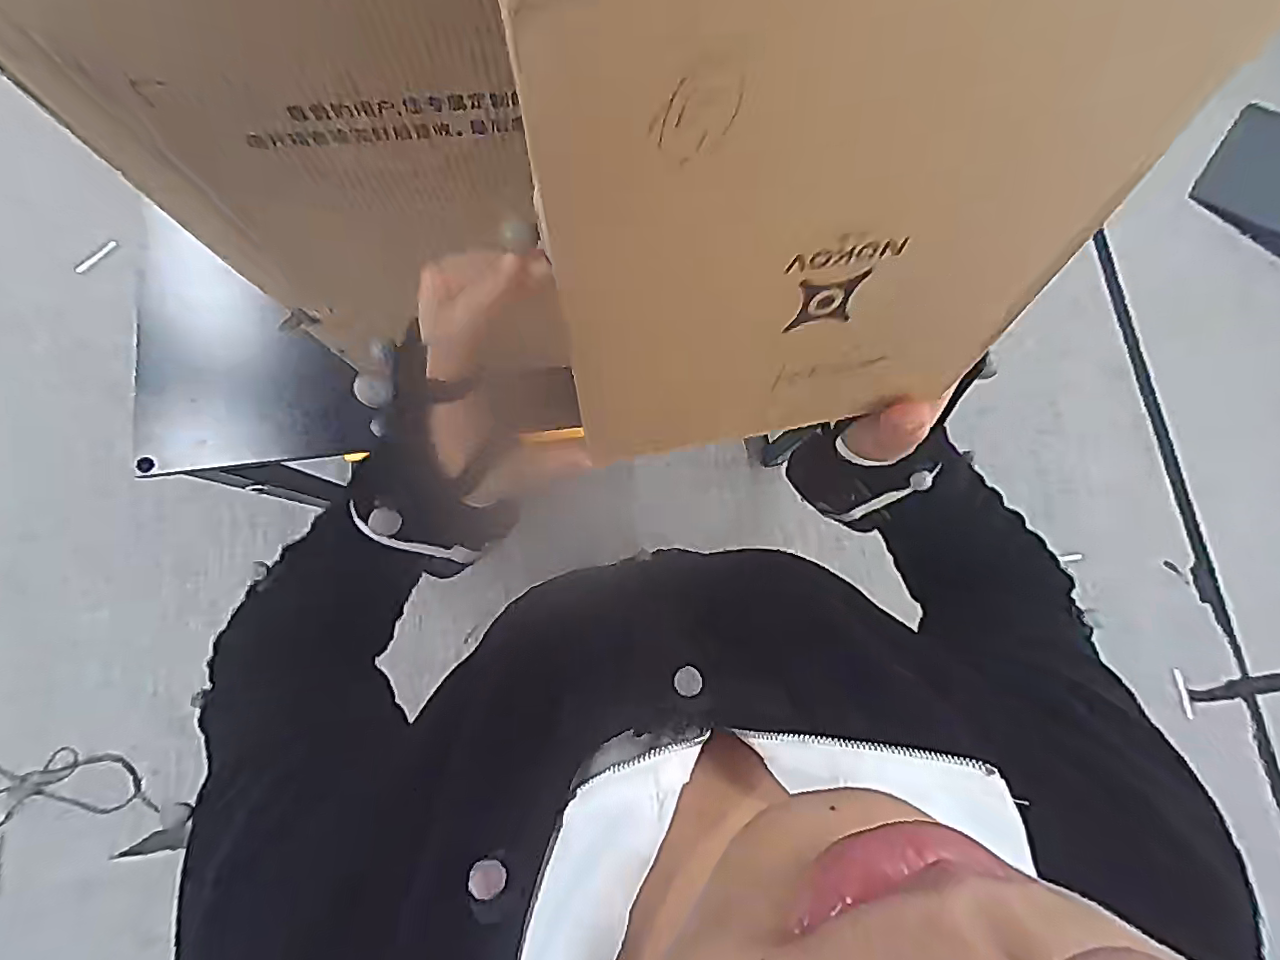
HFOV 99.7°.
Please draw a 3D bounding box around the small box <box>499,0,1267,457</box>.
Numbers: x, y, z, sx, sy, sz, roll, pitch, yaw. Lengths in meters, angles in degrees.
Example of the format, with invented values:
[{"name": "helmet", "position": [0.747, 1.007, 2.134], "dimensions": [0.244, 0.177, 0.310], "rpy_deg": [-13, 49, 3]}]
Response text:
[{"name": "small box", "position": [0.041, -0.134, 0.204], "dimensions": [0.168, 0.179, 0.176], "rpy_deg": [-11, 65, -5]}]
